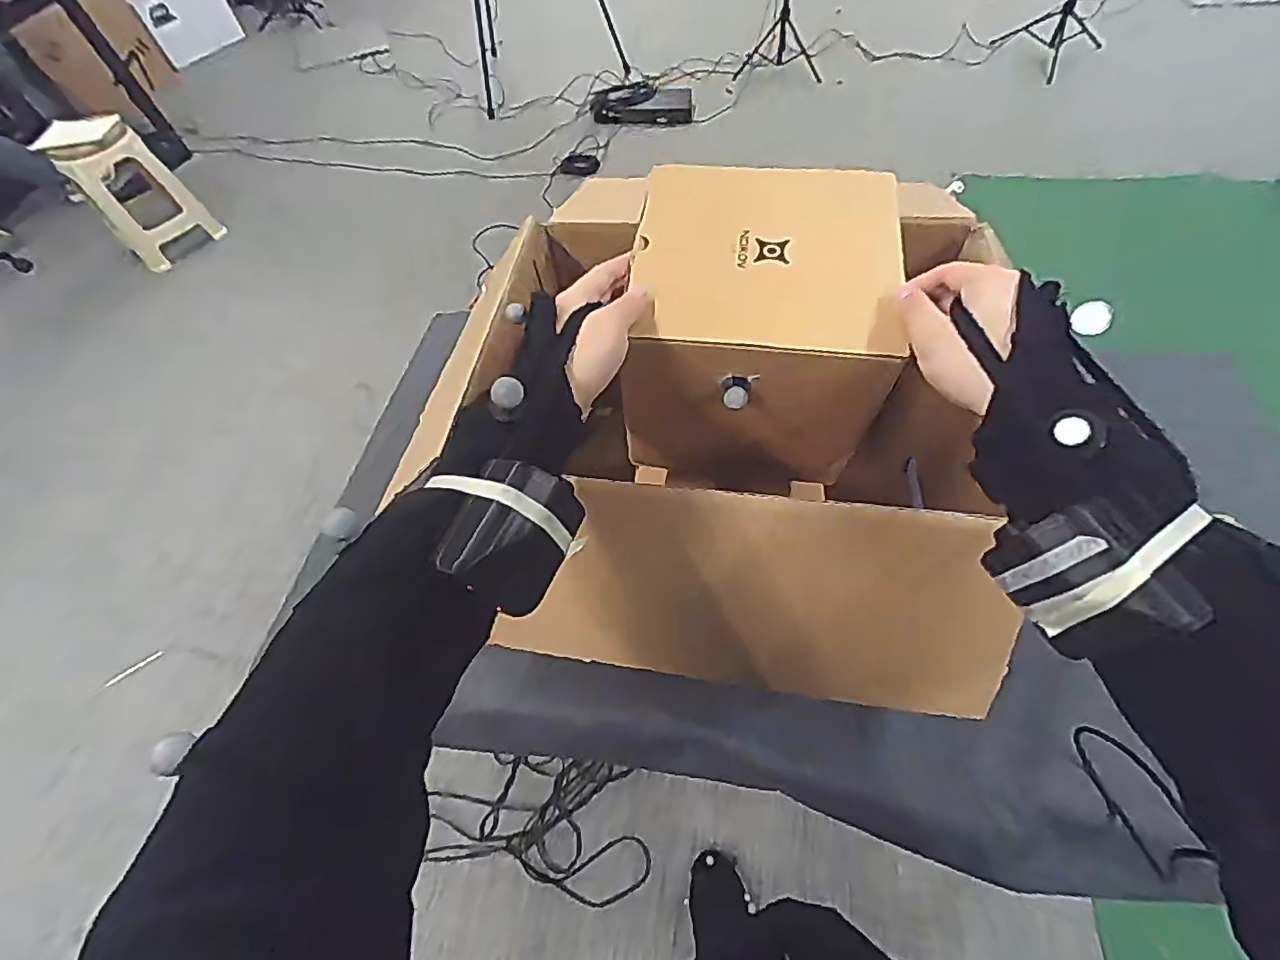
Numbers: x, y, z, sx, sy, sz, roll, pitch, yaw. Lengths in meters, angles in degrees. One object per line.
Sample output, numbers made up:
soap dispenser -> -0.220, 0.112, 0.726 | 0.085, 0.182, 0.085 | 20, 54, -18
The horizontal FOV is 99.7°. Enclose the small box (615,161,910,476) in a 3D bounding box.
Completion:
small box -> 0.087, -0.115, 0.425 | 0.179, 0.176, 0.168 | 6, 63, 7
